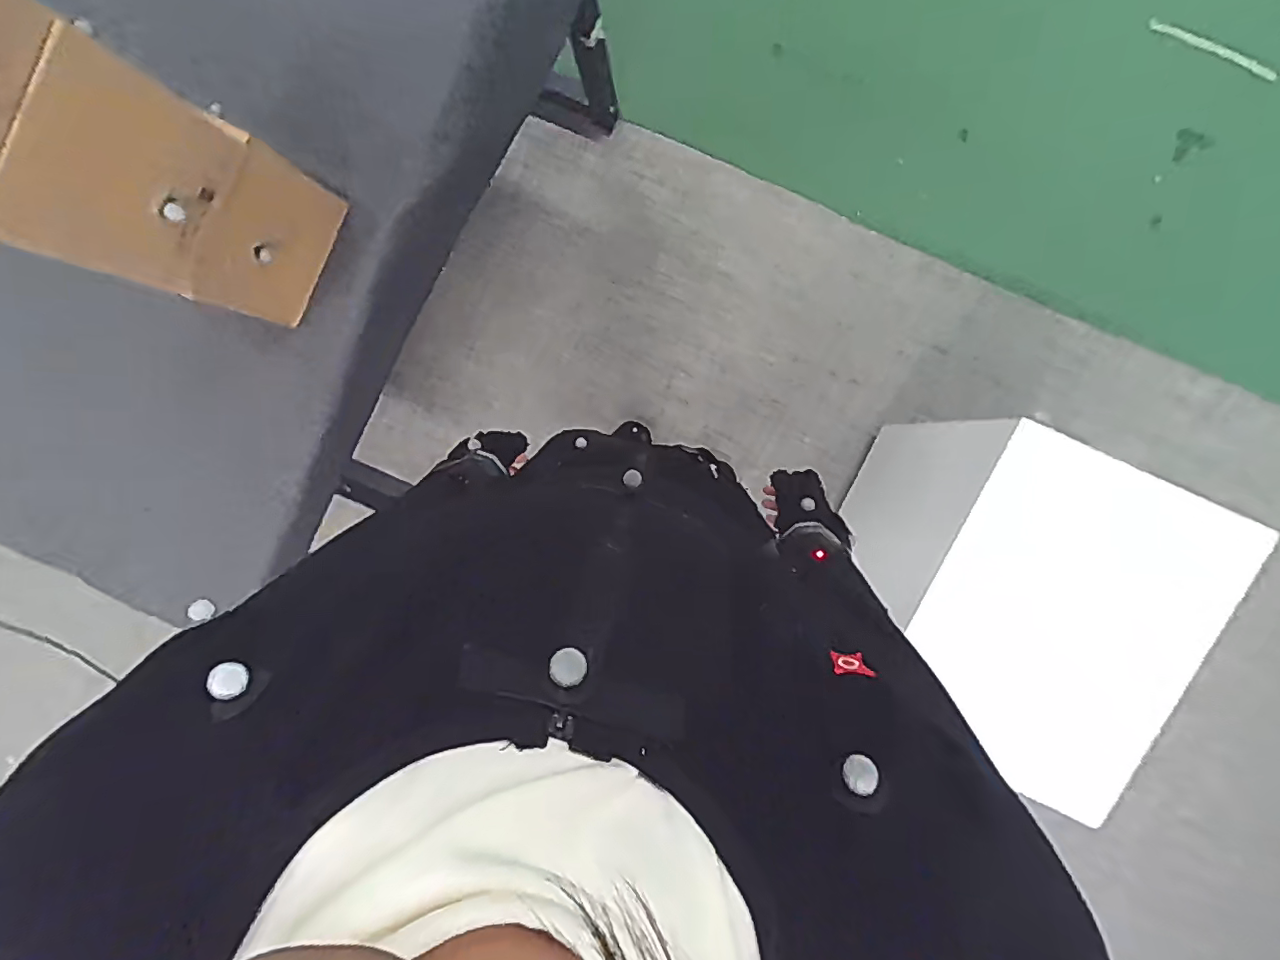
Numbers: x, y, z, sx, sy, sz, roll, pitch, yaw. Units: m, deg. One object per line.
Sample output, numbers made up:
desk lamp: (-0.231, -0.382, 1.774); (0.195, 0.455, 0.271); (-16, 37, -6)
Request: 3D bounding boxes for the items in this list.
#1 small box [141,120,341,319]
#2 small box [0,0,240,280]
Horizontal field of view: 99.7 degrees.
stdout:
small box: (-0.491, -0.310, 0.630); (0.168, 0.176, 0.179); (27, 97, 2)
small box: (-0.510, -0.299, 0.467); (0.179, 0.176, 0.168); (28, 96, 4)
